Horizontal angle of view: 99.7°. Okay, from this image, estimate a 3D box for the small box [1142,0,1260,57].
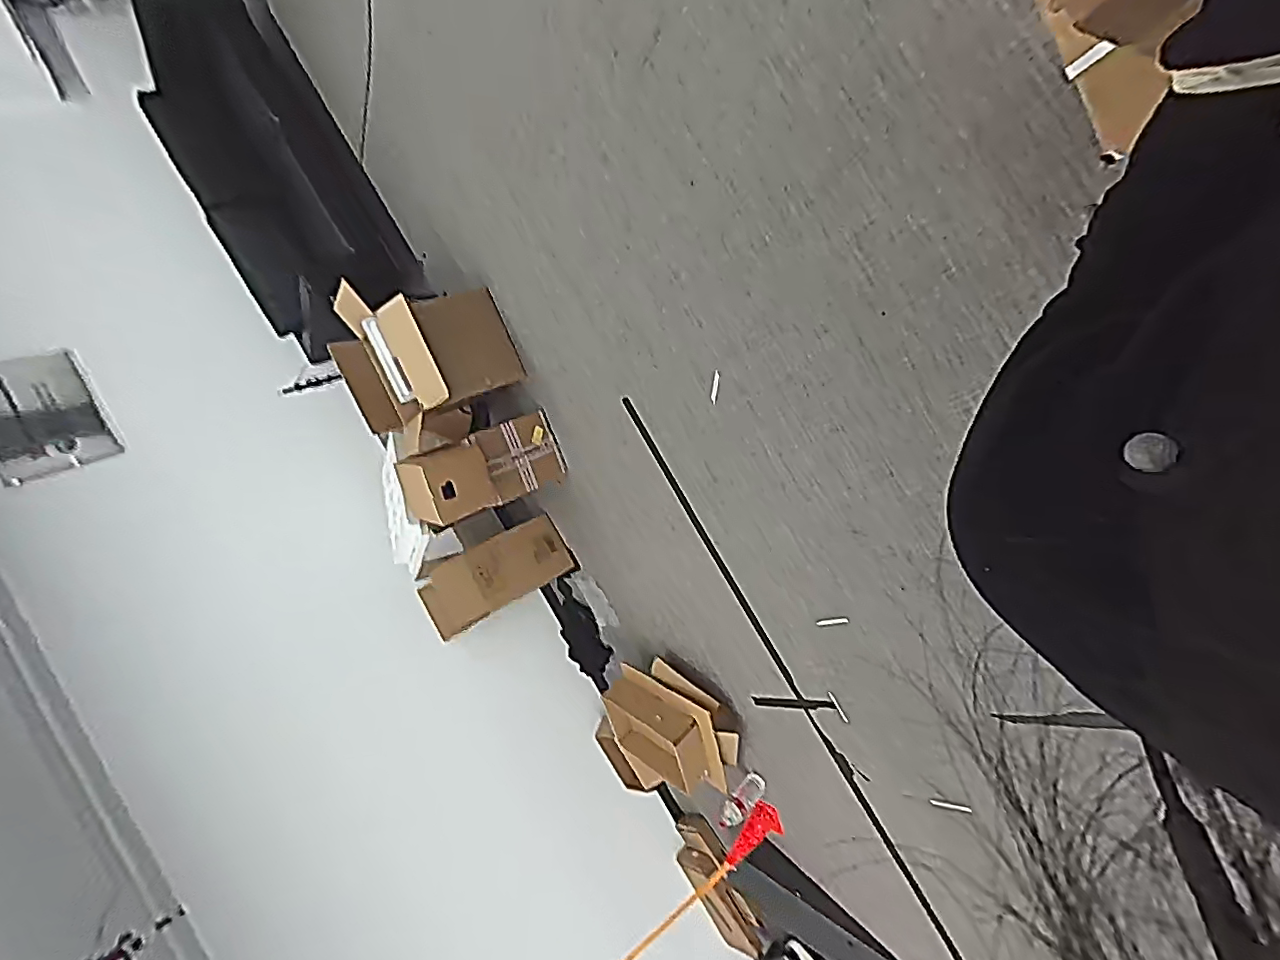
[{"bbox_3d":[0.593,-0.571,0.540,0.168,0.176,0.179,-24,95,55],"label":"small box"}]

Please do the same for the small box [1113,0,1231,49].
[{"bbox_3d":[0.479,-0.504,0.445,0.168,0.176,0.179,-28,90,56],"label":"small box"}]

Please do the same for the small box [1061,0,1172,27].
[{"bbox_3d":[0.359,-0.443,0.353,0.168,0.176,0.179,-29,88,54],"label":"small box"}]
